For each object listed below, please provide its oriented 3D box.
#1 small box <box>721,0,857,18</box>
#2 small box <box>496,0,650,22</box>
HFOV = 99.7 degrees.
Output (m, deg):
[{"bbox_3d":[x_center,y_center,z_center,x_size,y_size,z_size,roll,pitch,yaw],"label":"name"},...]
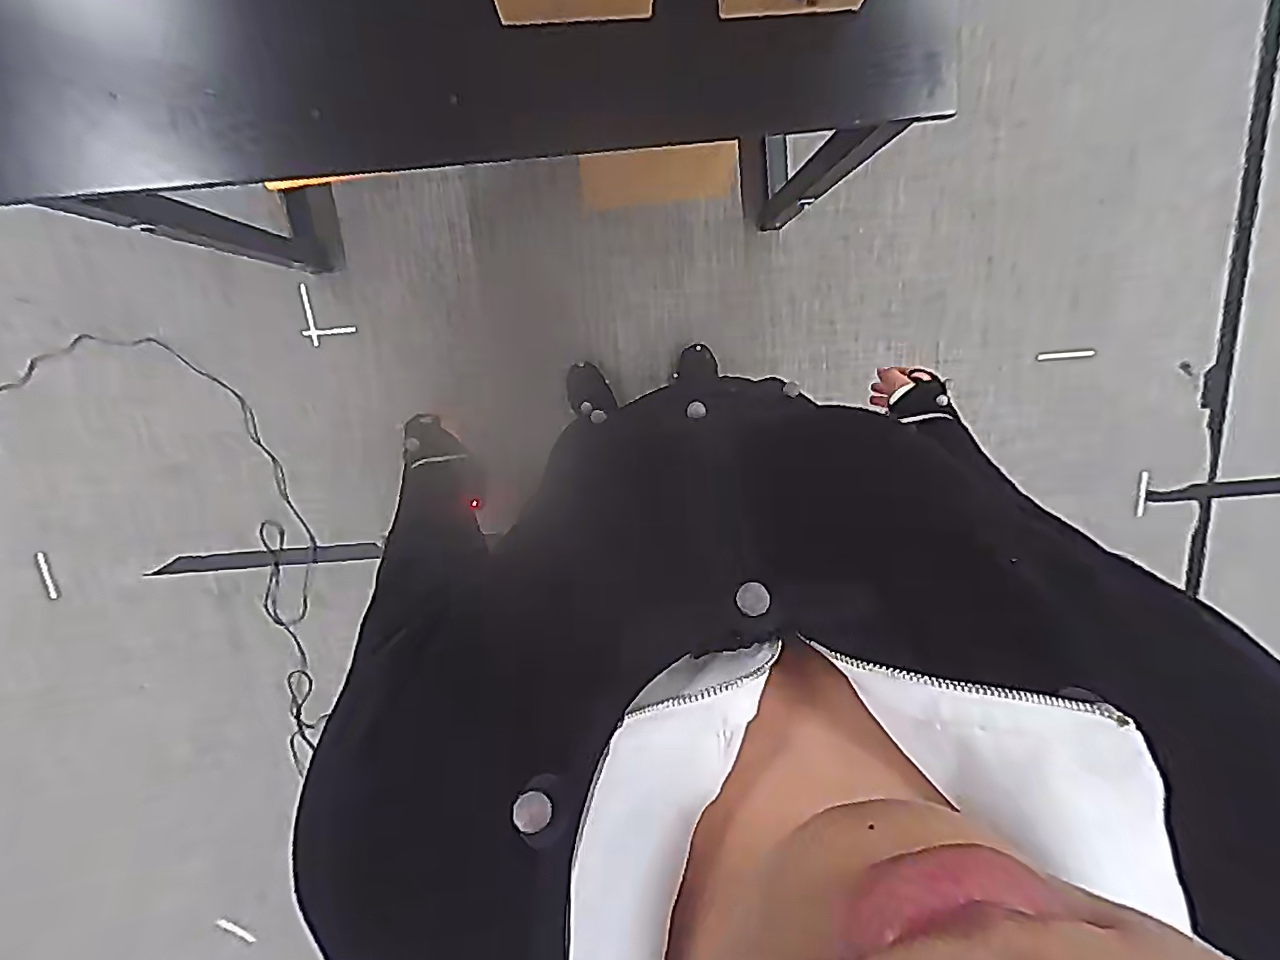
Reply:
[{"bbox_3d":[0.168,-0.609,0.533,0.168,0.176,0.179,-3,103,0],"label":"small box"},{"bbox_3d":[-0.077,-0.592,0.531,0.179,0.176,0.168,-4,103,-2],"label":"small box"}]
